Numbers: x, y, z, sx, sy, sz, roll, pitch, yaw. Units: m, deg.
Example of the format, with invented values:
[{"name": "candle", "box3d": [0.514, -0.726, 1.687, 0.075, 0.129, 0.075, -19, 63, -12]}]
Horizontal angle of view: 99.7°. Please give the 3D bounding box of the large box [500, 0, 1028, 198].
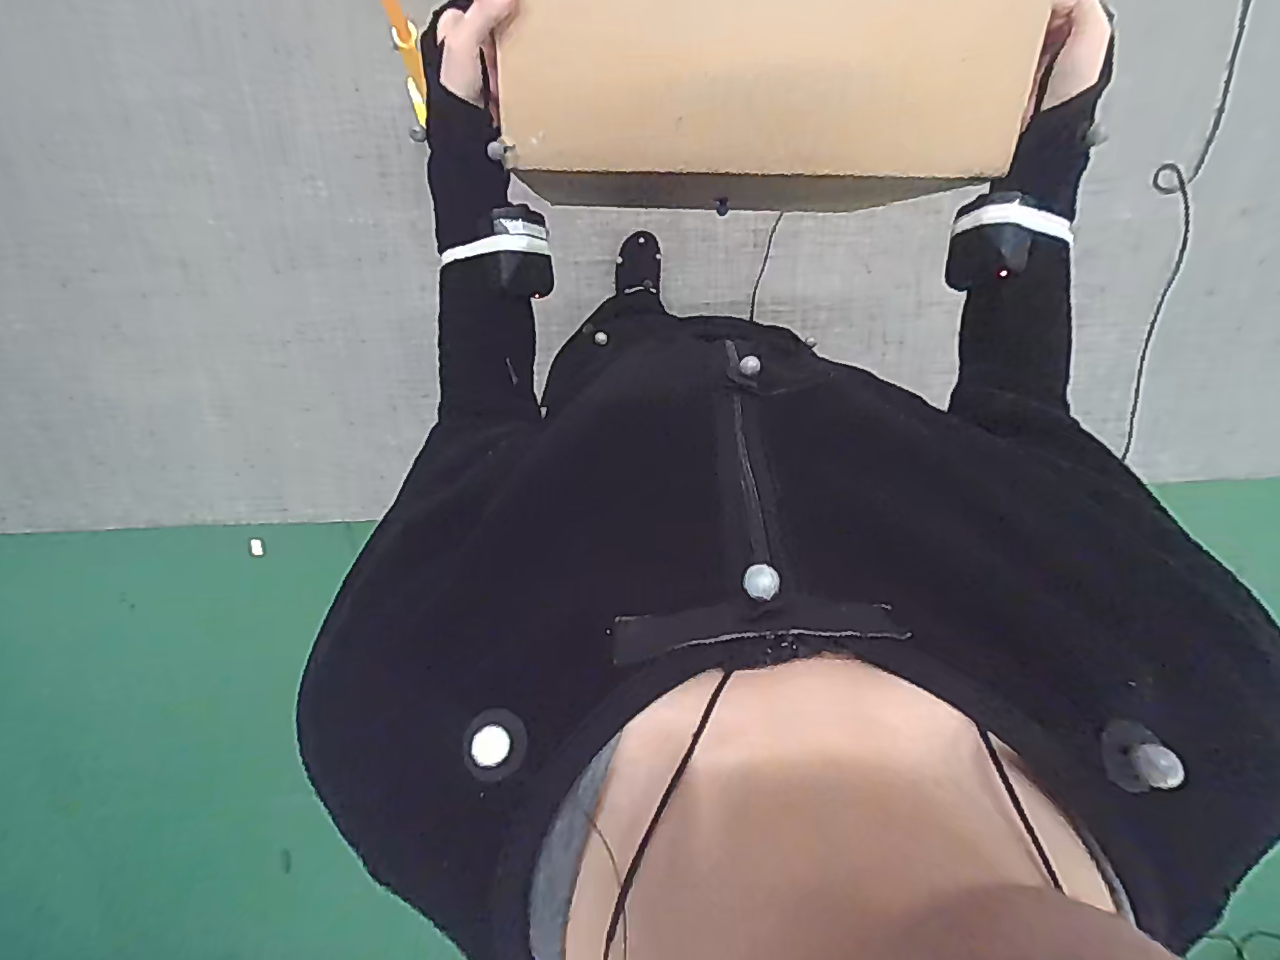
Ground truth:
[{"name": "large box", "box3d": [0.093, -0.456, 0.522, 0.408, 0.320, 0.320, 0, 112, -1]}]
